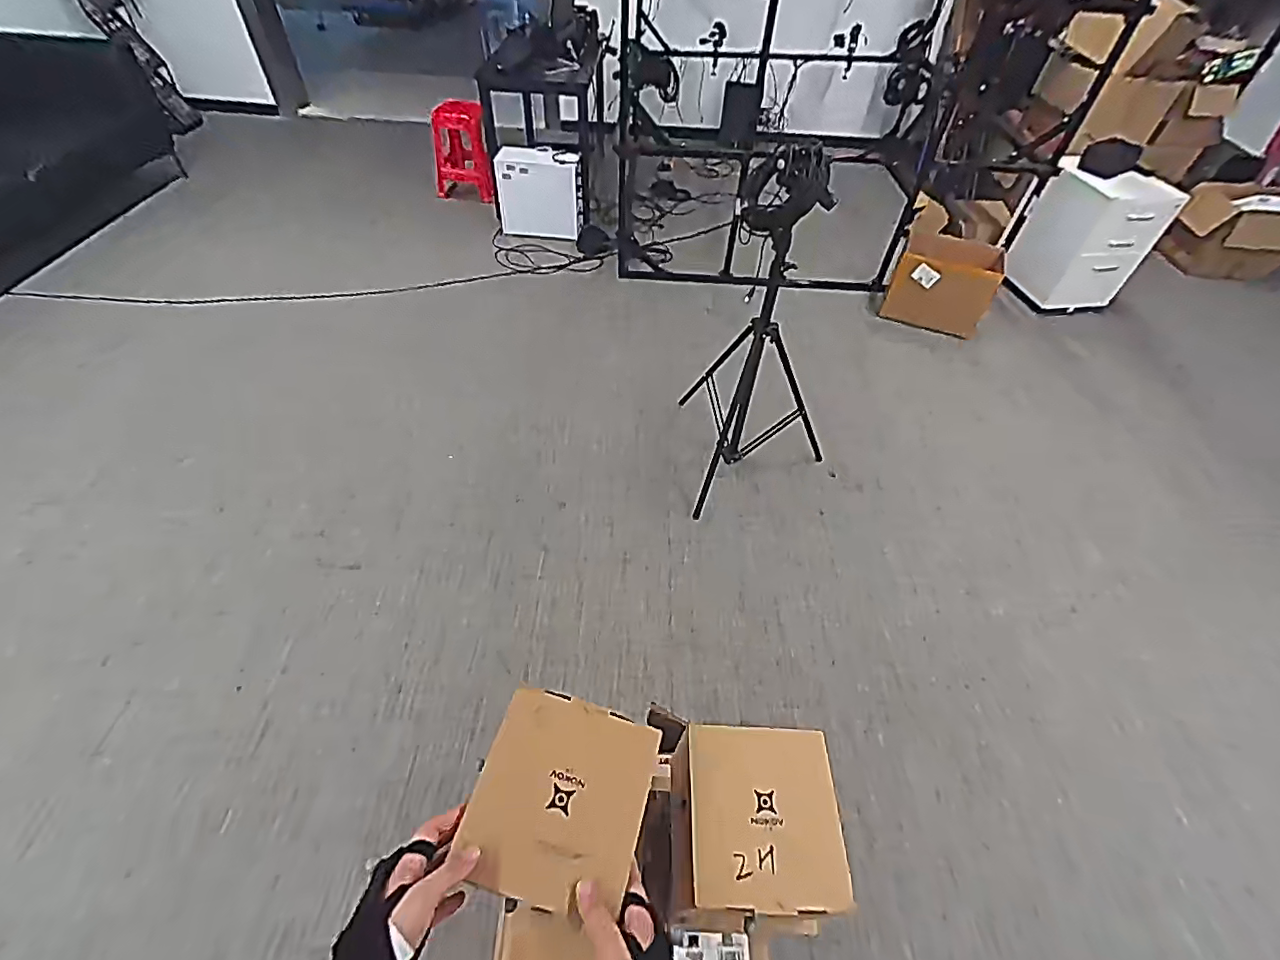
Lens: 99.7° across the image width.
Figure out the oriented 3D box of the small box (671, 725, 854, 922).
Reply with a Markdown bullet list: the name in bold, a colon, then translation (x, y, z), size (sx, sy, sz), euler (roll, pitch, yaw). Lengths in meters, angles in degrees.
- **small box**: translation (0.129, 0.415, 0.651), size (0.168, 0.176, 0.179), euler (4, 50, -3)

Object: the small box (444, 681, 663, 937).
- **small box**: translation (-0.090, 0.347, 0.584), size (0.168, 0.176, 0.179), euler (19, 55, 0)

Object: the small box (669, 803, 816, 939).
- **small box**: translation (0.132, 0.532, 0.768), size (0.168, 0.176, 0.179), euler (5, 50, -1)

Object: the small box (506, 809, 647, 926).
- **small box**: translation (-0.077, 0.514, 0.769), size (0.168, 0.176, 0.179), euler (4, 51, 2)
